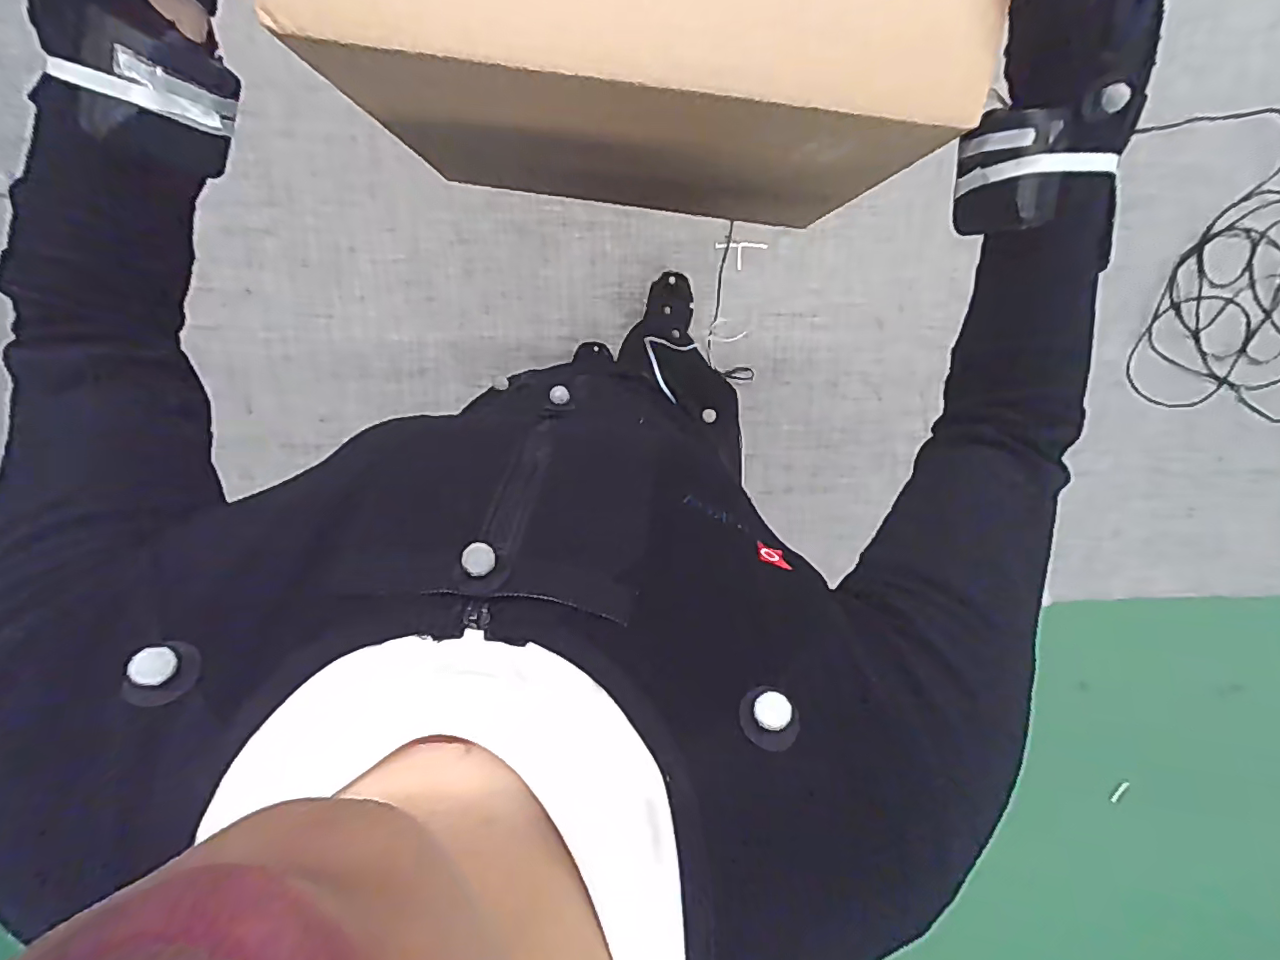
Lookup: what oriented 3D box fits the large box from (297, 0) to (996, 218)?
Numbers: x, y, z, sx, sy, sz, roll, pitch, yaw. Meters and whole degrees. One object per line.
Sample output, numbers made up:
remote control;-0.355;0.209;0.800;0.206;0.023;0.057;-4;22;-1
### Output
large box;0.012;-0.418;0.421;0.408;0.320;0.320;5;106;-3
